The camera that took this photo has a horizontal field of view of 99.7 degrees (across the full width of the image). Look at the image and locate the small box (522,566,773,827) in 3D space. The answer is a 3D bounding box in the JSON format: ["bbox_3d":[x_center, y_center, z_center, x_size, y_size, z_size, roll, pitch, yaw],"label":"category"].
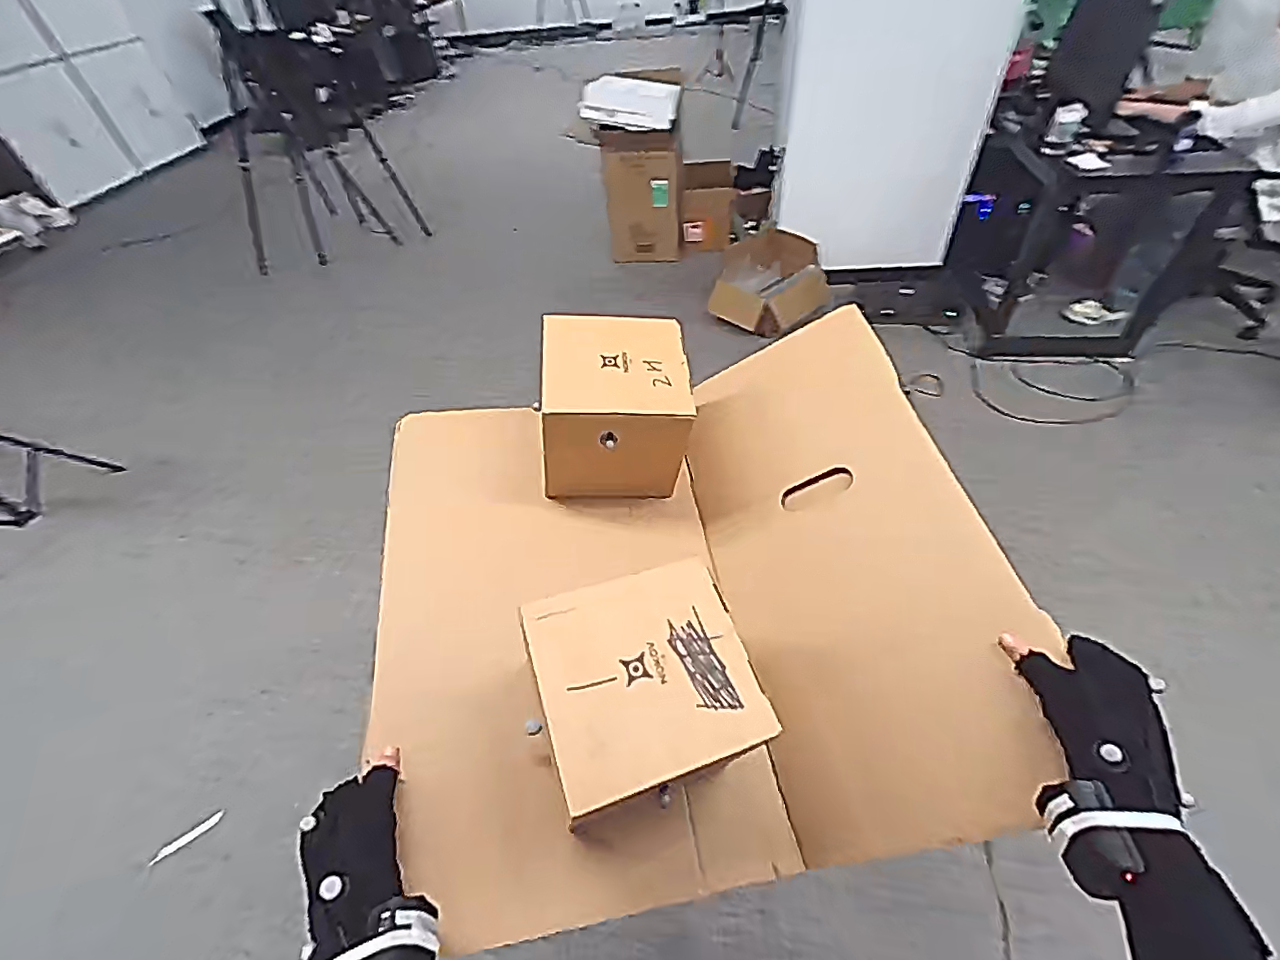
[{"bbox_3d":[-0.007,0.208,0.518,0.179,0.176,0.168,-13,58,-16],"label":"small box"}]

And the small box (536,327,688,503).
[{"bbox_3d":[-0.044,-0.081,0.717,0.179,0.176,0.168,0,55,-9],"label":"small box"}]
